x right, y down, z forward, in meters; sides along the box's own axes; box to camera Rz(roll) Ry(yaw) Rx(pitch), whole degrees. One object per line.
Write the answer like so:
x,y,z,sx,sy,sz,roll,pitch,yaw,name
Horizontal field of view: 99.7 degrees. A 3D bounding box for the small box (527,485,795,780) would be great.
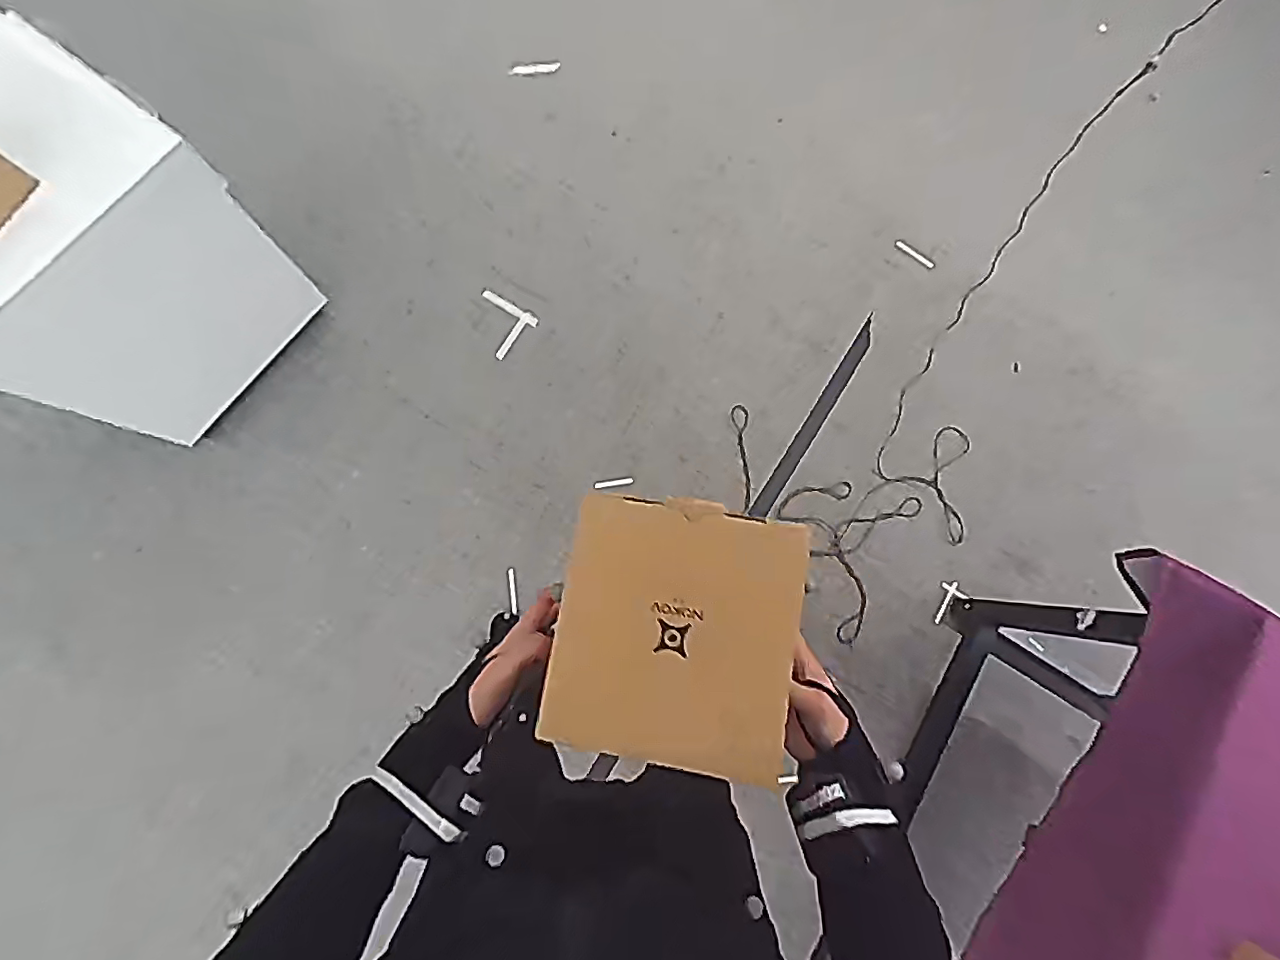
0.023,0.114,0.453,0.168,0.176,0.179,9,80,7,small box
